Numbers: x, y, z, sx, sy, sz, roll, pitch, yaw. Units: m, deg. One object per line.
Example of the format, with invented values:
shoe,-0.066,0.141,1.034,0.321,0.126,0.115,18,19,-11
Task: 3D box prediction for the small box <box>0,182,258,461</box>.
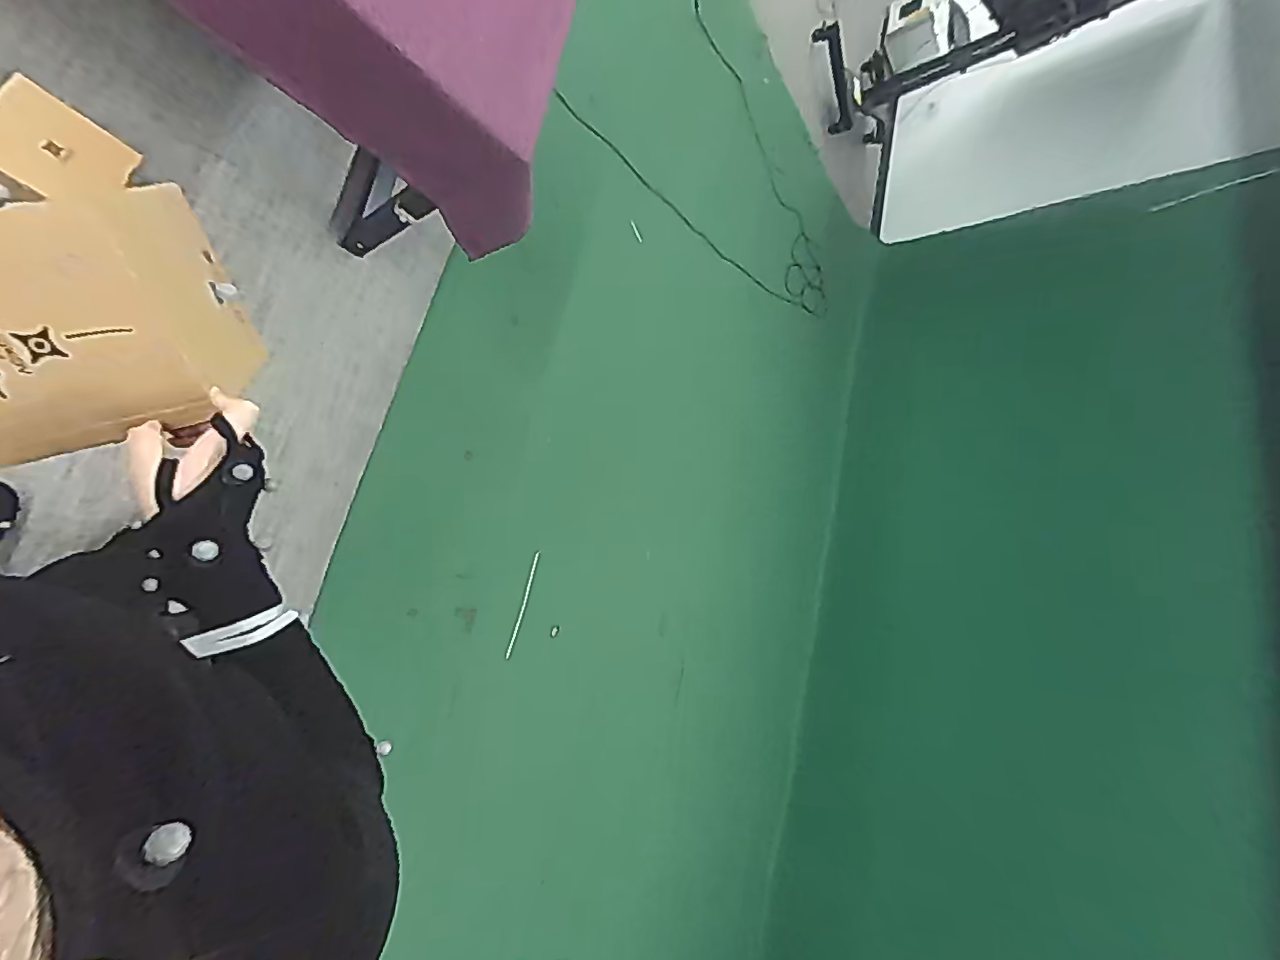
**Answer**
small box,-0.463,-0.139,0.447,0.179,0.176,0.168,-18,125,-13
